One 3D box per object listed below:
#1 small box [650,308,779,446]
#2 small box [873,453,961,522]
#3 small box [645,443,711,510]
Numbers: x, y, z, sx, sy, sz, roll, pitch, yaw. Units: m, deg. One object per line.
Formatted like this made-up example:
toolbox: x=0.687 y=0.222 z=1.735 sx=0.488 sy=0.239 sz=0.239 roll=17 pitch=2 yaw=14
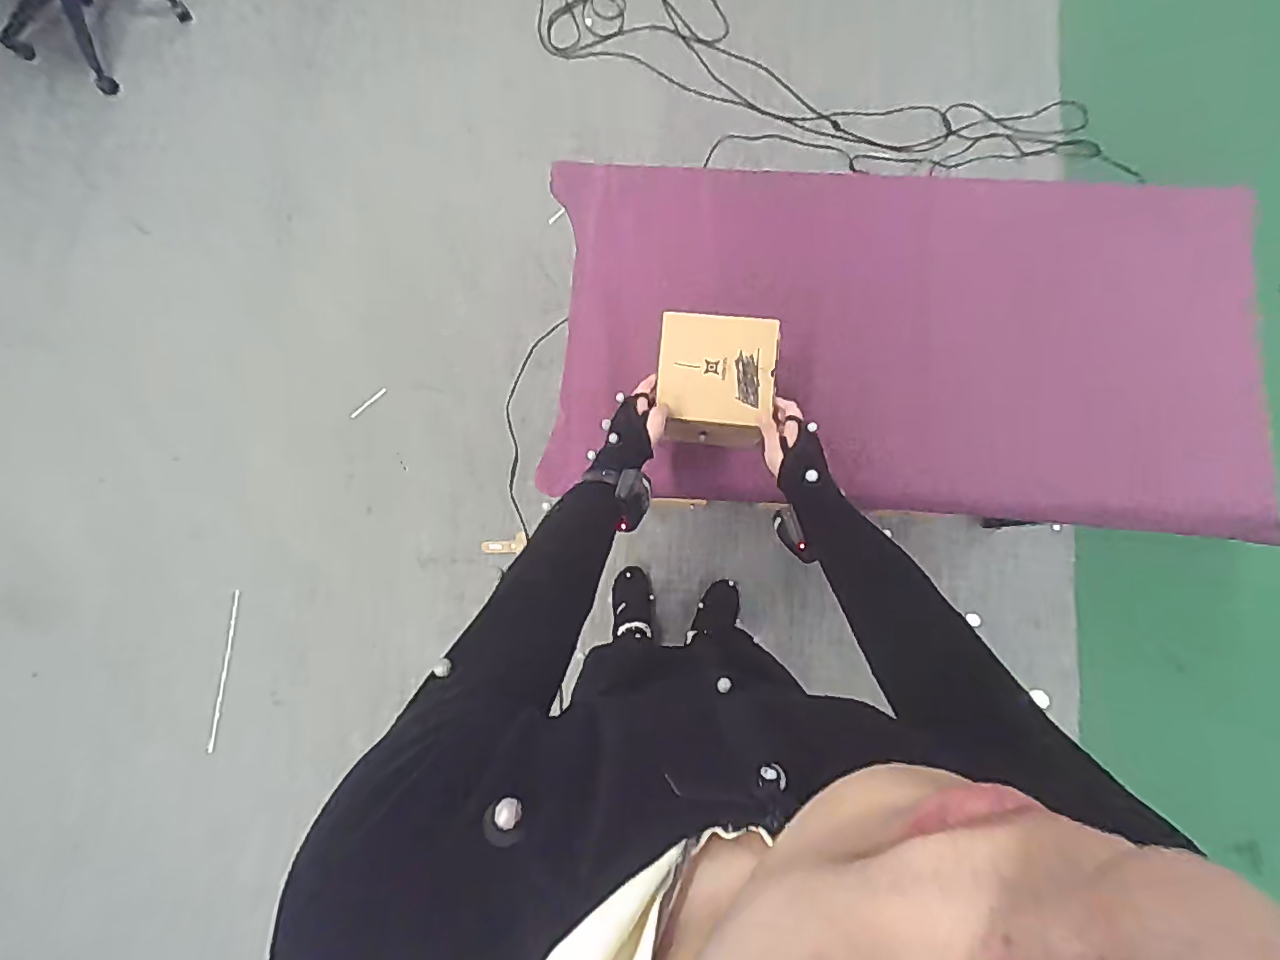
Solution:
small box: x=0.112 y=-0.155 z=0.867 sx=0.179 sy=0.176 sz=0.168 roll=6 pitch=81 yaw=4
small box: x=0.786 y=0.026 z=1.550 sx=0.179 sy=0.176 sz=0.168 roll=7 pitch=82 yaw=4
small box: x=0.111 y=-0.006 z=1.583 sx=0.179 sy=0.176 sz=0.168 roll=4 pitch=82 yaw=3
